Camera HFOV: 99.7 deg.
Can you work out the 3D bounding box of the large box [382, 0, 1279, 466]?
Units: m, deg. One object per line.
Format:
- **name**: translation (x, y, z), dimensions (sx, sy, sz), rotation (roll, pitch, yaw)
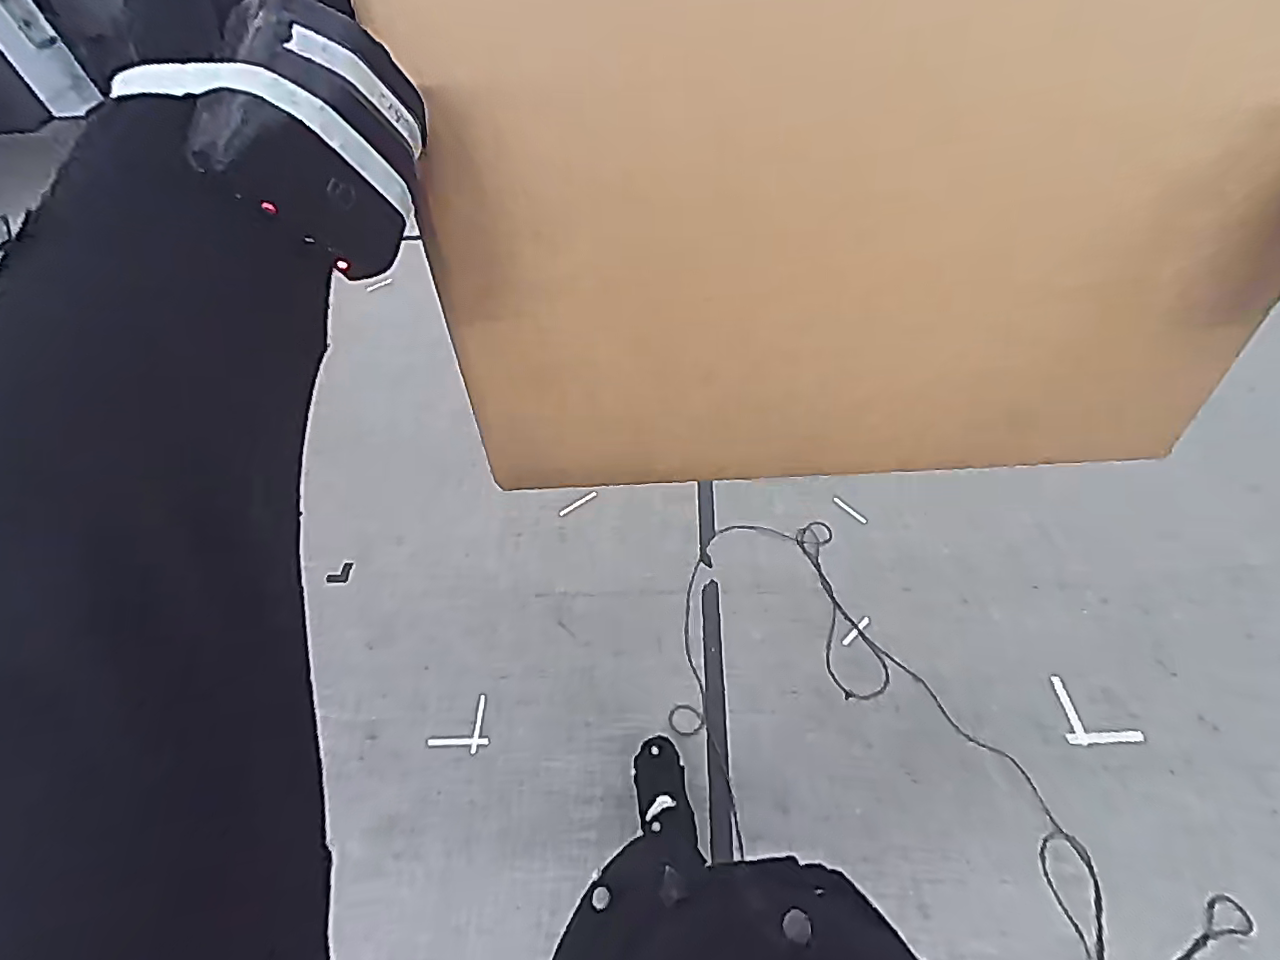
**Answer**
- **large box**: translation (0.098, -0.226, 0.352), dimensions (0.408, 0.320, 0.320), rotation (-2, 40, 0)
